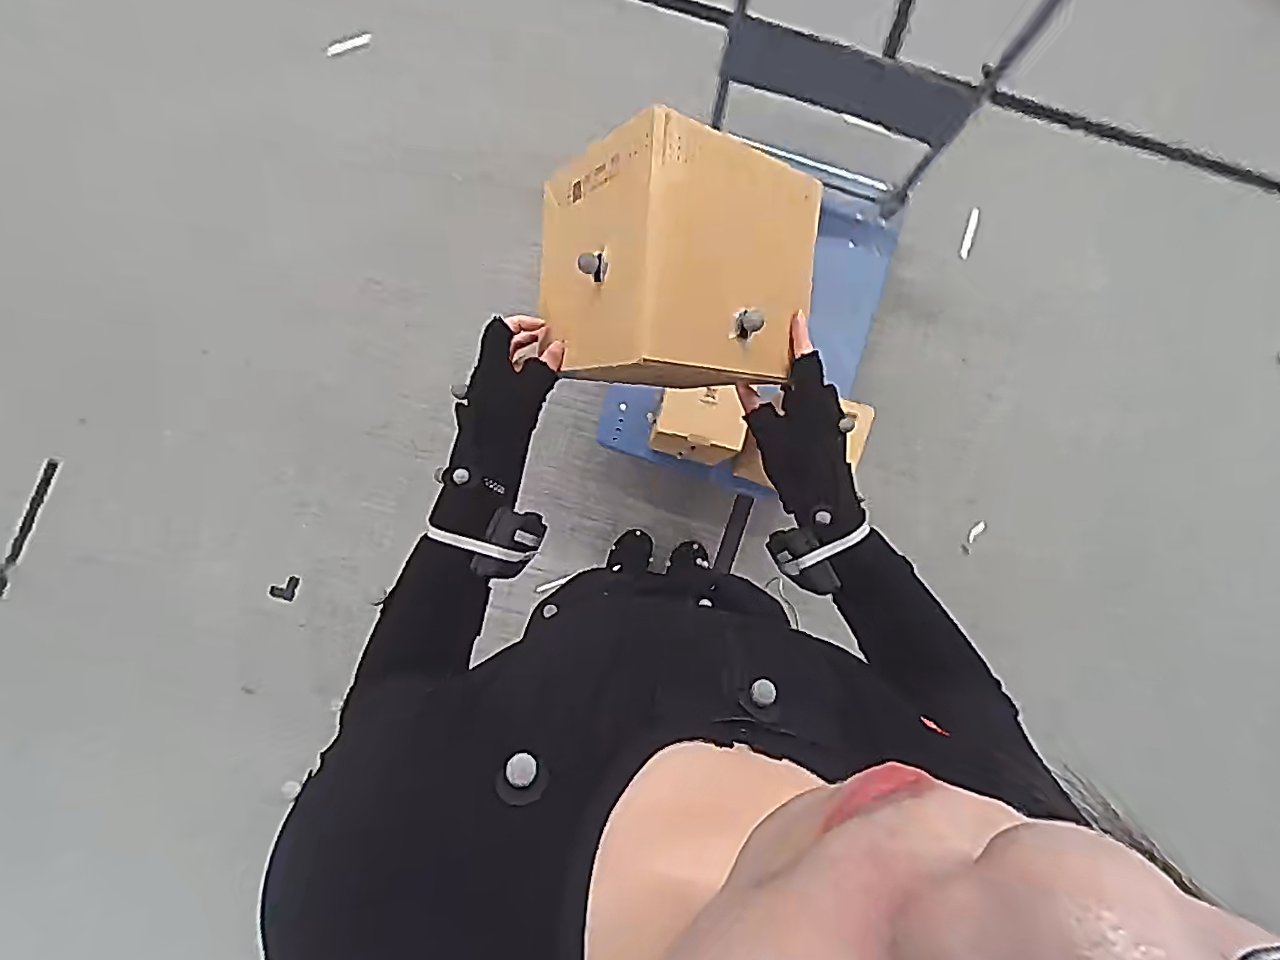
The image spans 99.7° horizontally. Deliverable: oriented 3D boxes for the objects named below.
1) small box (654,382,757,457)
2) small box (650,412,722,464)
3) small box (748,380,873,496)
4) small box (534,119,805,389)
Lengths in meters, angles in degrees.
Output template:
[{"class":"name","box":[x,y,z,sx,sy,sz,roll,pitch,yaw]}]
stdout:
[{"class":"small box","box":[0.127,-0.151,1.097,0.168,0.176,0.179,15,87,-1]},{"class":"small box","box":[0.124,-0.143,1.262,0.168,0.176,0.179,17,86,-1]},{"class":"small box","box":[0.335,-0.077,1.098,0.168,0.176,0.179,21,87,-1]},{"class":"small box","box":[0.021,-0.171,0.463,0.179,0.168,0.176,-4,98,-35]}]
